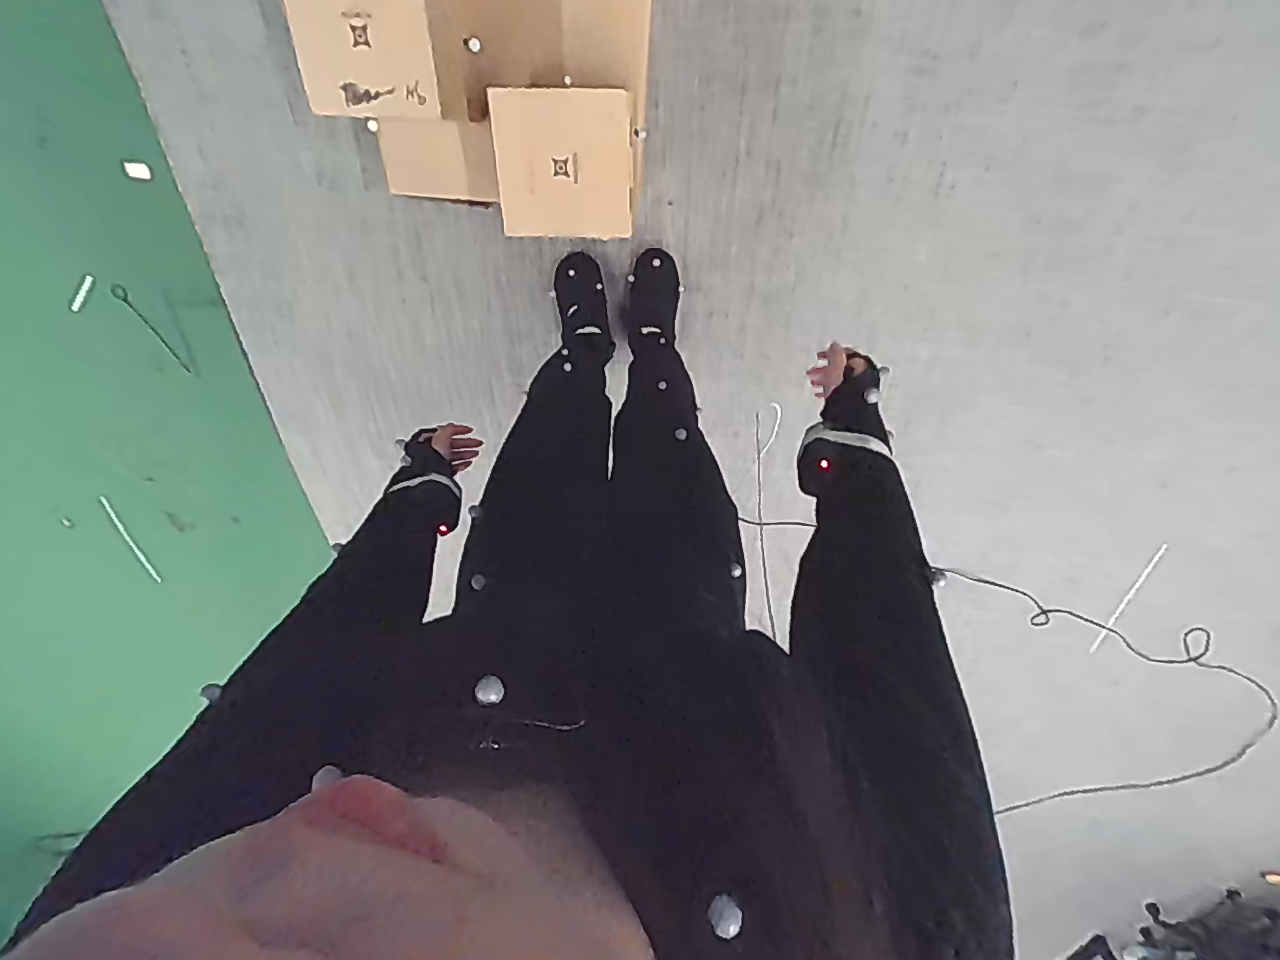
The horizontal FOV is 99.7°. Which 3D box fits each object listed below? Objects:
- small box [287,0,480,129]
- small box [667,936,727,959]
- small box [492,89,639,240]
[{"bbox_3d":[-0.312,-0.556,0.684,0.168,0.176,0.179,4,122,1],"label":"small box"},{"bbox_3d":[0.159,1.402,1.497,0.168,0.176,0.179,0,124,3],"label":"small box"},{"bbox_3d":[-0.090,-0.438,0.751,0.179,0.176,0.168,2,123,2],"label":"small box"}]
